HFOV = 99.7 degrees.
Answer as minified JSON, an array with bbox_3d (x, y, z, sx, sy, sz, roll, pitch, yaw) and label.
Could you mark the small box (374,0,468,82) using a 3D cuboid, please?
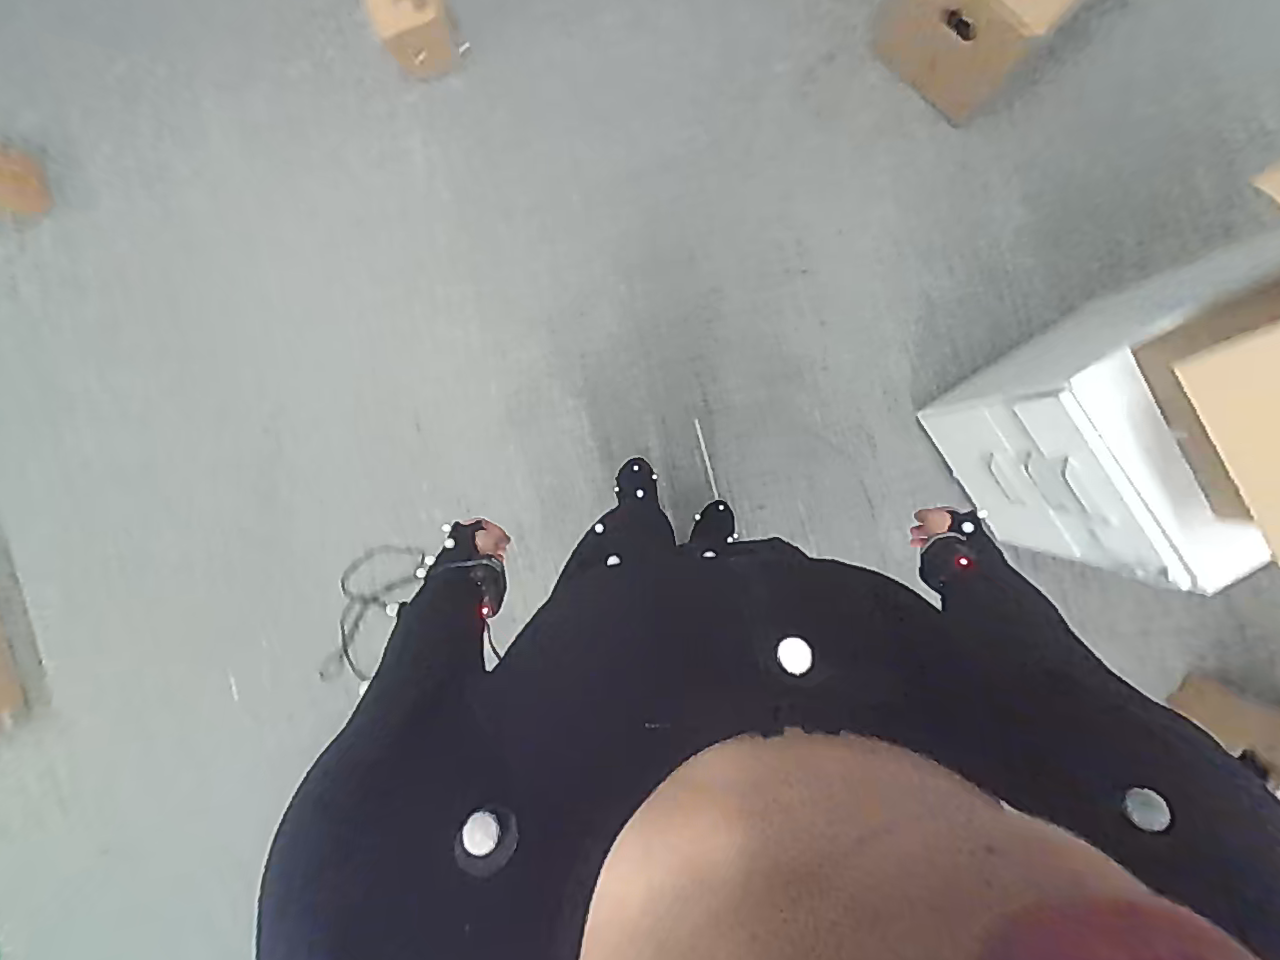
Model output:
[{"bbox_3d":[-0.568,-1.196,1.414,0.179,0.176,0.168,-14,91,5],"label":"small box"}]
